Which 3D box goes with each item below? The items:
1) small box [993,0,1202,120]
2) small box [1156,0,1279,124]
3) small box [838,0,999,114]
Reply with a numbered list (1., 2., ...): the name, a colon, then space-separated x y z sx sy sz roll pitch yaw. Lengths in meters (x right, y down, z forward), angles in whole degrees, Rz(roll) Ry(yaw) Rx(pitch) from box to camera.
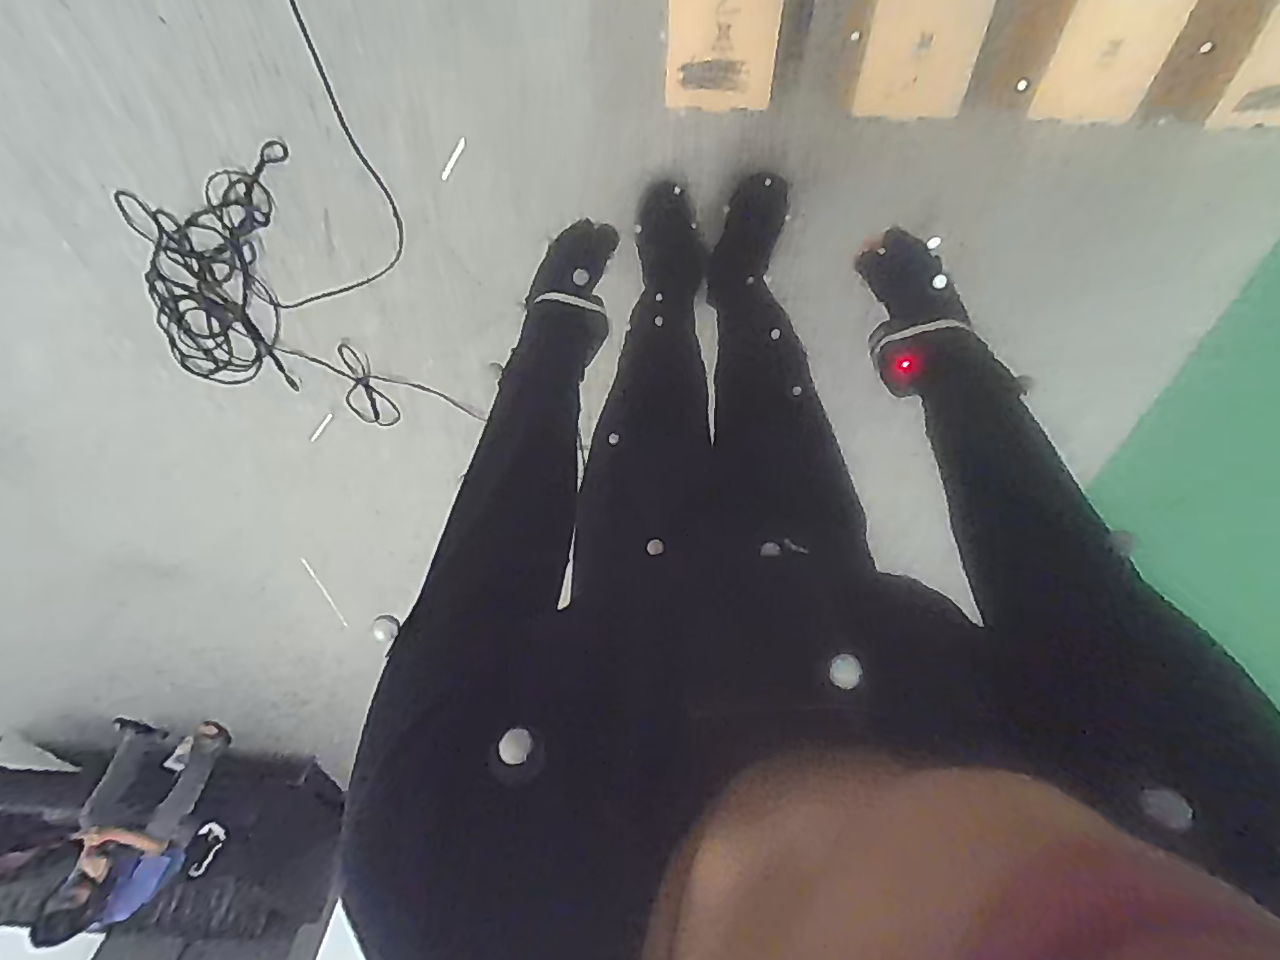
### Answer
1. small box: 0.690 -0.679 0.835 0.168 0.176 0.179 4 133 1
2. small box: 0.958 -0.663 0.826 0.168 0.176 0.179 2 132 3
3. small box: 0.422 -0.691 0.843 0.168 0.176 0.179 4 133 3
